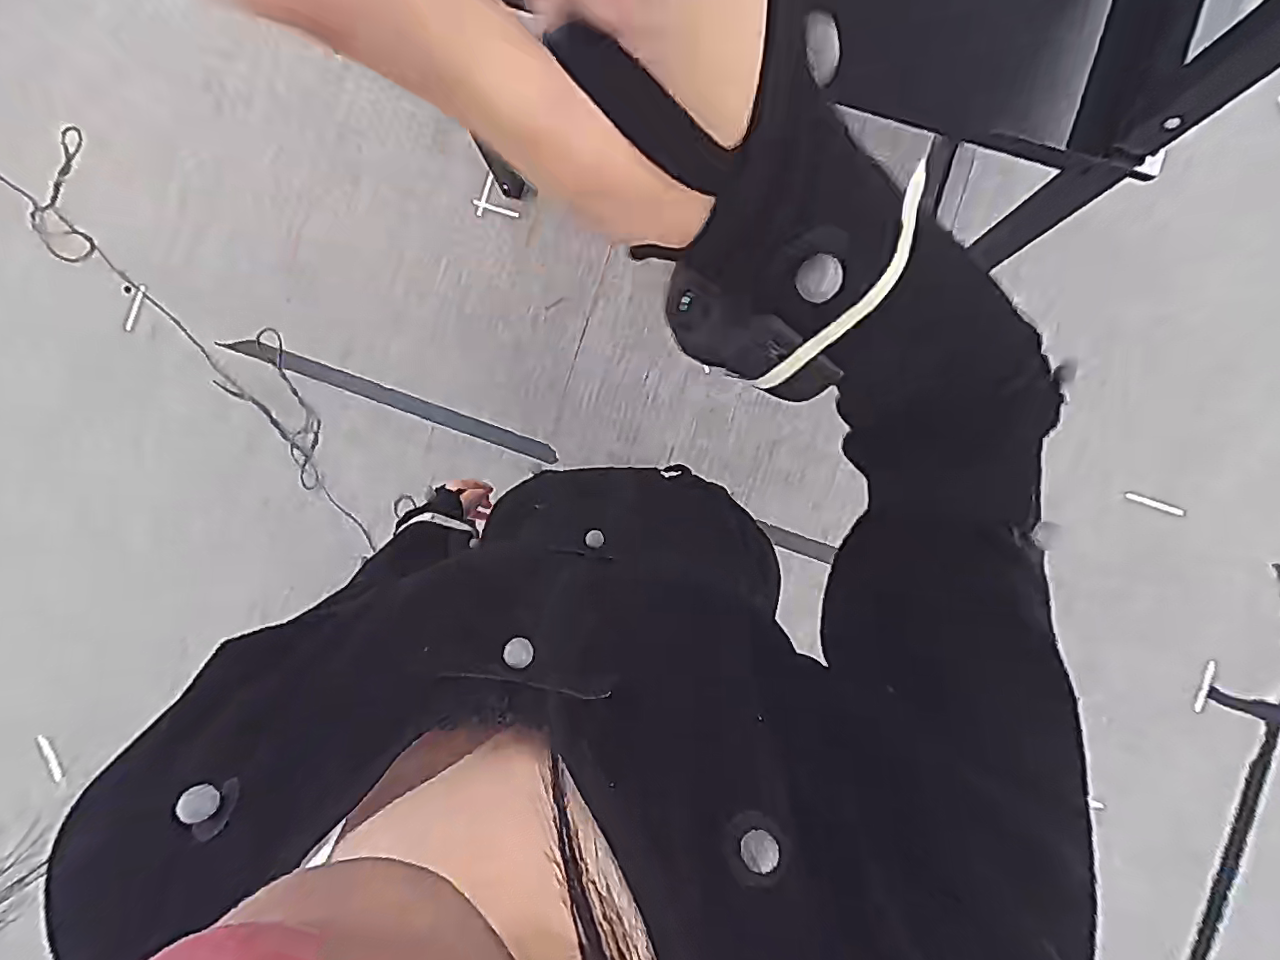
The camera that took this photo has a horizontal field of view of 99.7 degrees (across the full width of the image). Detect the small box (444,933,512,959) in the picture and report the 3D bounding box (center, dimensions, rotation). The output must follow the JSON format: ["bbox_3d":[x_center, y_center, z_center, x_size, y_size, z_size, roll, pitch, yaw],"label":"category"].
[{"bbox_3d":[-0.433,1.319,1.387,0.168,0.176,0.179,5,88,2],"label":"small box"}]
